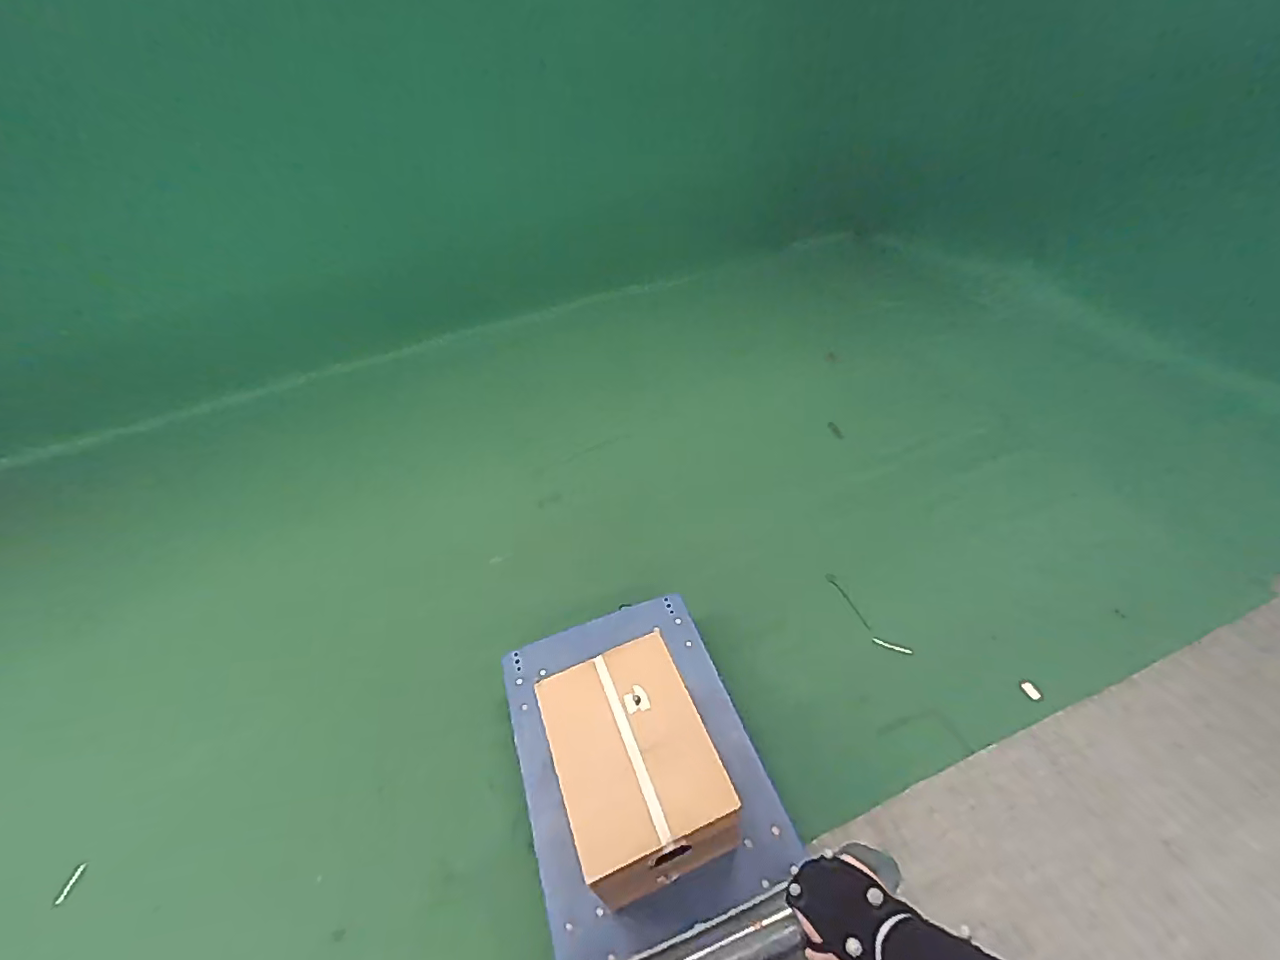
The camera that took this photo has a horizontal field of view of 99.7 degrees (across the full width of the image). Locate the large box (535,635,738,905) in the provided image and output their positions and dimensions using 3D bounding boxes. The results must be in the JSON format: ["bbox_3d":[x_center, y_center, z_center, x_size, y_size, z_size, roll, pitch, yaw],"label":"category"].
[{"bbox_3d":[-0.006,0.648,1.230,0.320,0.320,0.408,-20,46,-11],"label":"large box"}]
